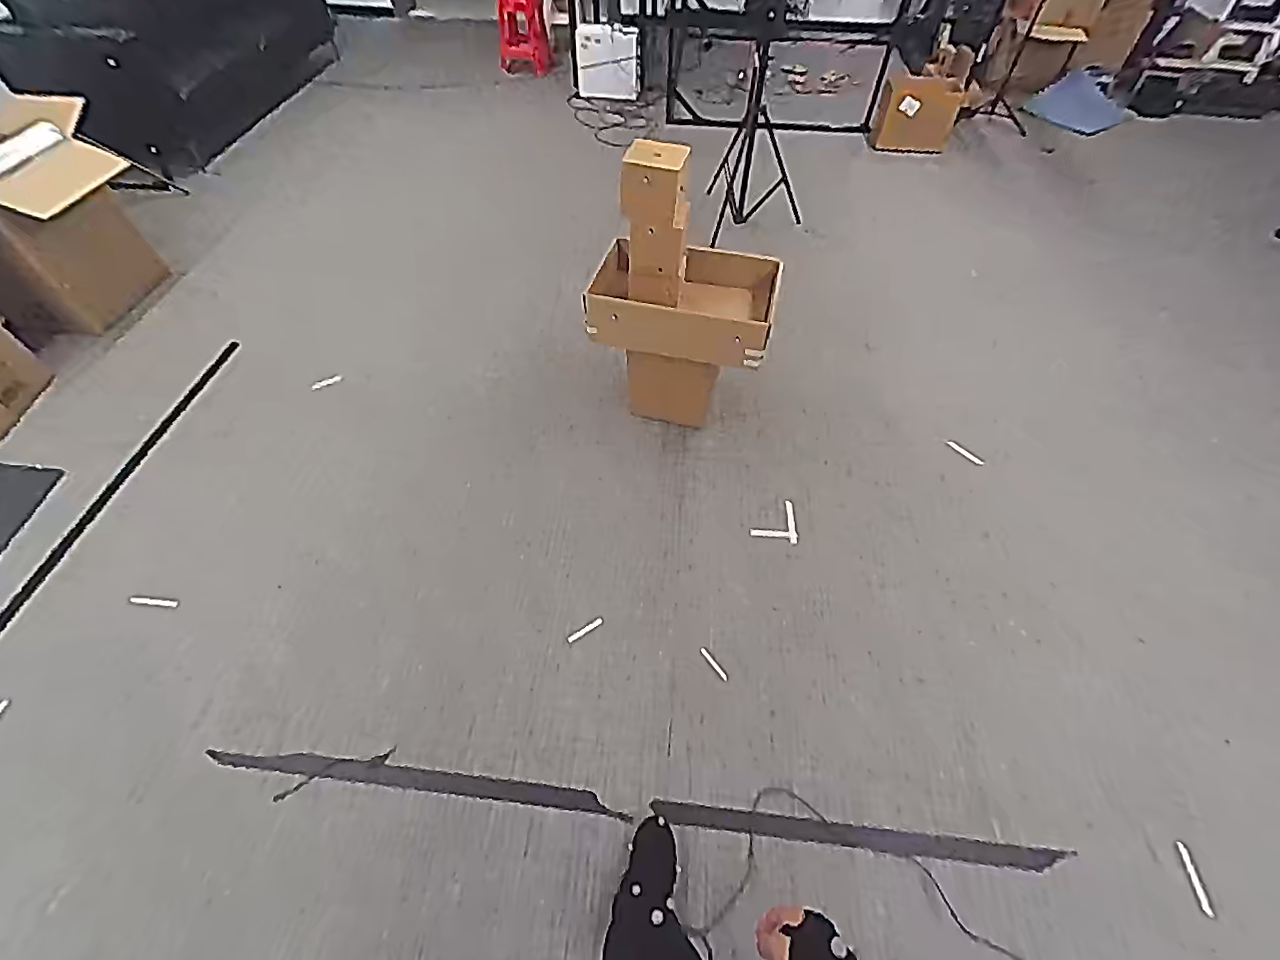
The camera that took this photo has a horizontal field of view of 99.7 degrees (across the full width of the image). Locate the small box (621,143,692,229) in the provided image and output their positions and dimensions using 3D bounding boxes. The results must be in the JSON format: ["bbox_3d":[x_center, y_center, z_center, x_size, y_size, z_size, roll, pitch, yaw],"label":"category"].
[{"bbox_3d":[0.049,-0.885,1.633,0.179,0.176,0.168,13,53,8],"label":"small box"}]

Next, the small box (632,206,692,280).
[{"bbox_3d":[0.069,-0.781,1.759,0.168,0.176,0.179,10,52,6],"label":"small box"}]
